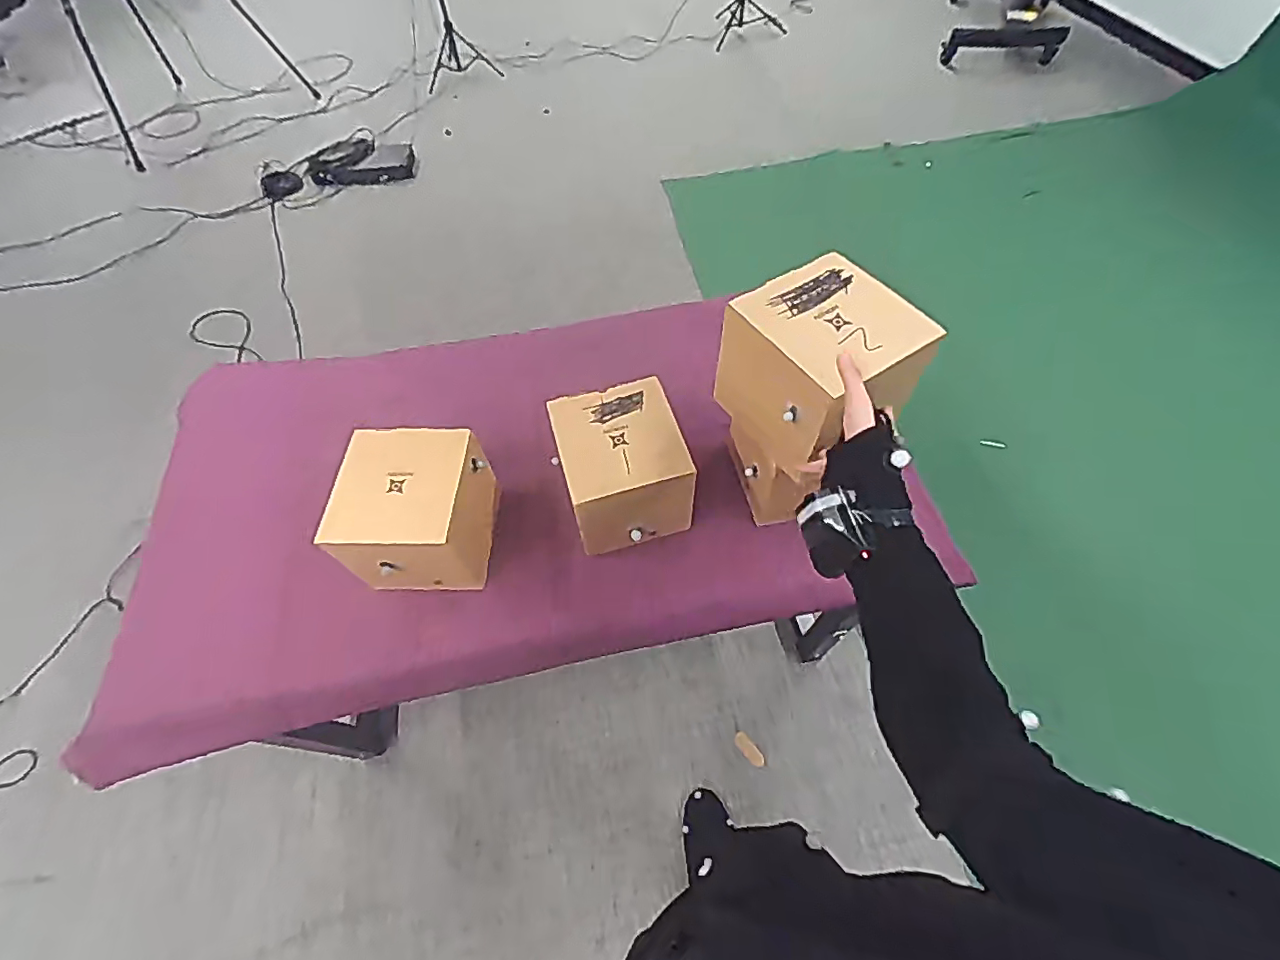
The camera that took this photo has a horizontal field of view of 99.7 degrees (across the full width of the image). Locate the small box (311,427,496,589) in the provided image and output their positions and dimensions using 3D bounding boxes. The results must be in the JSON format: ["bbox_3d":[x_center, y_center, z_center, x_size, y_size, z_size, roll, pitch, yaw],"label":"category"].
[{"bbox_3d":[-0.312,0.045,0.760,0.168,0.176,0.179,0,57,2],"label":"small box"}]

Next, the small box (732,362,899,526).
[{"bbox_3d":[0.241,-0.047,0.801,0.179,0.176,0.168,-9,57,-4],"label":"small box"}]

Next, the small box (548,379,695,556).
[{"bbox_3d":[-0.029,-0.015,0.788,0.168,0.176,0.179,-14,59,-7],"label":"small box"}]
